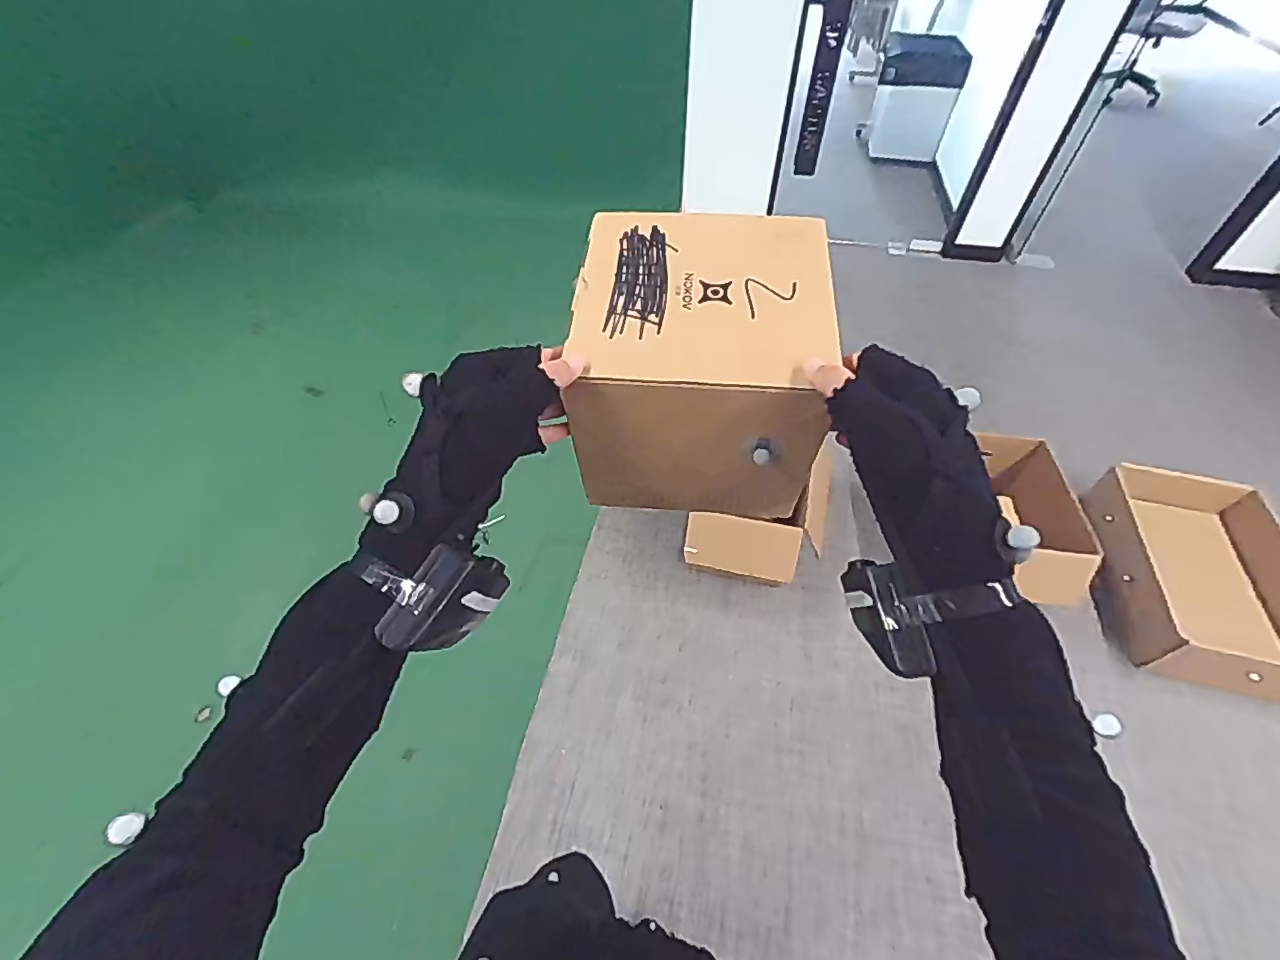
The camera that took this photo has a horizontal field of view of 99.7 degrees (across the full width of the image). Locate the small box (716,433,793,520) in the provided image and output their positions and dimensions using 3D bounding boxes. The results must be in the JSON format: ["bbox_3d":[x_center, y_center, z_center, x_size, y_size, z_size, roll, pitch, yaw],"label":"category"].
[{"bbox_3d":[0.331,-0.006,1.574,0.179,0.176,0.168,14,50,10],"label":"small box"}]
